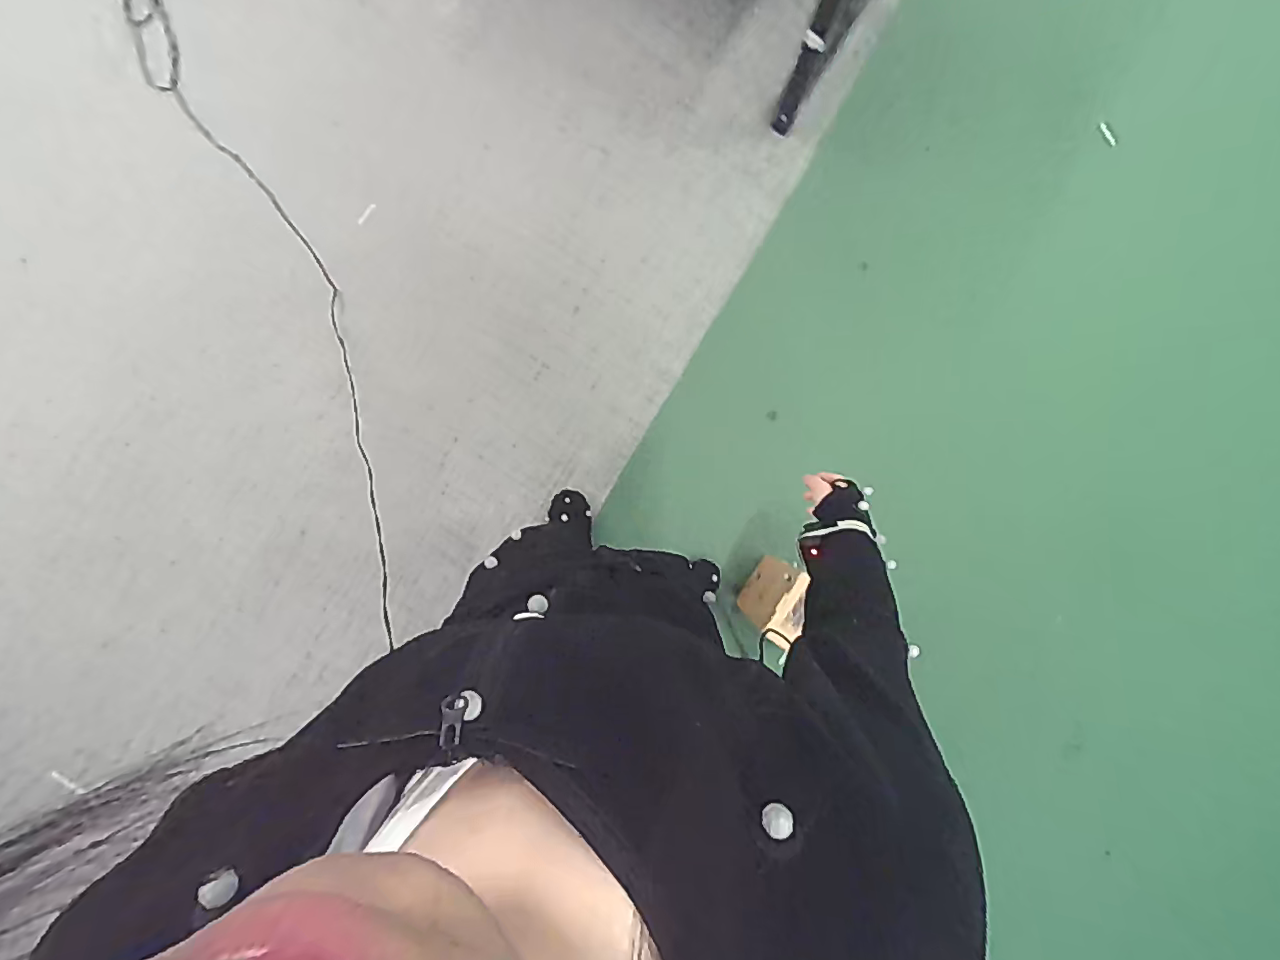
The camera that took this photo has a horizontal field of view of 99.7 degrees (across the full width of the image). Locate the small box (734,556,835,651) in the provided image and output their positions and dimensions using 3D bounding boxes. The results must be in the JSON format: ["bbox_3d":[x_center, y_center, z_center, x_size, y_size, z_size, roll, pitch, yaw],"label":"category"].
[{"bbox_3d":[0.374,0.318,1.437,0.179,0.176,0.168,34,89,0],"label":"small box"}]
